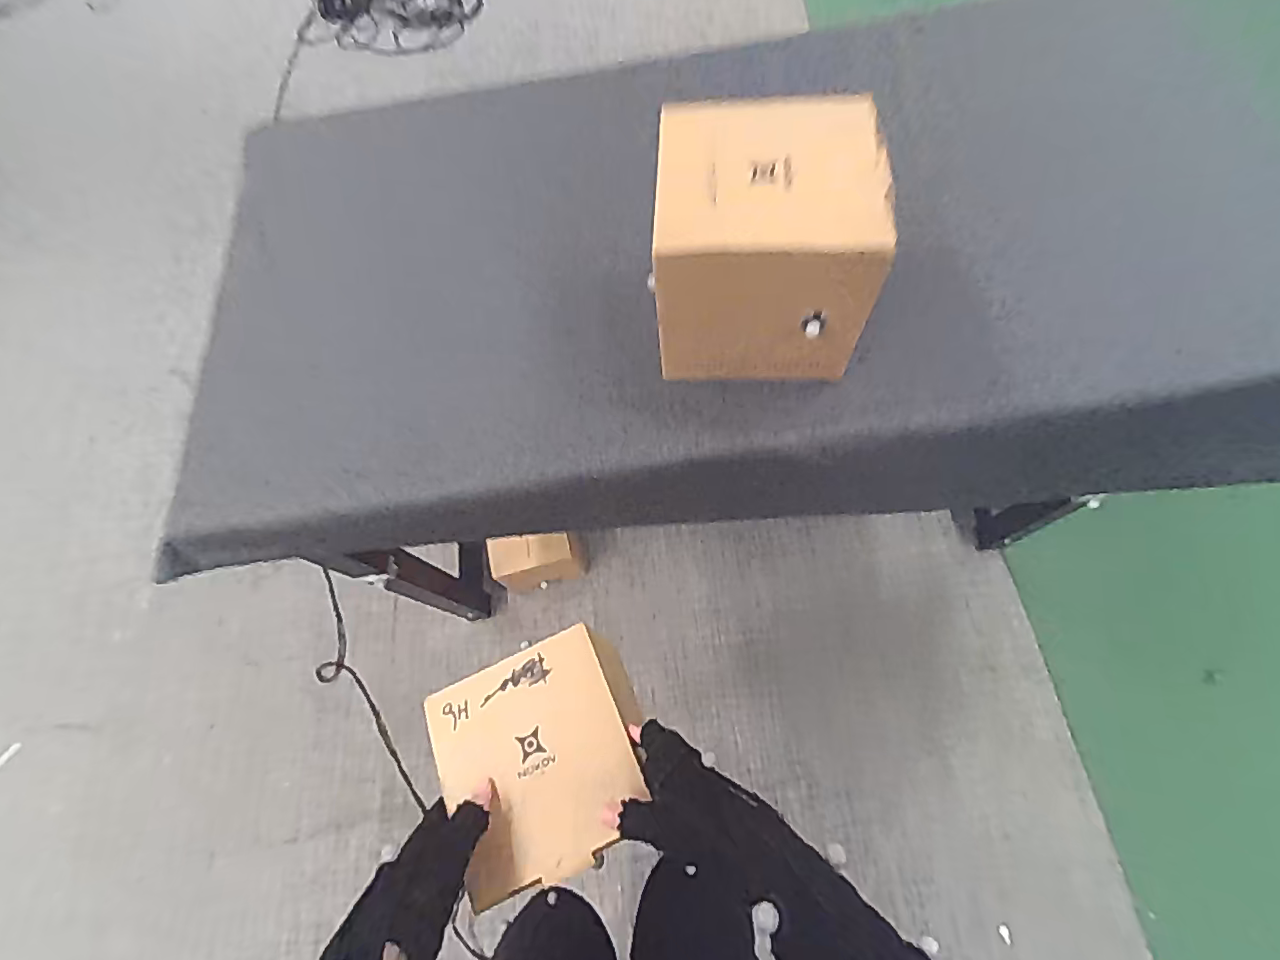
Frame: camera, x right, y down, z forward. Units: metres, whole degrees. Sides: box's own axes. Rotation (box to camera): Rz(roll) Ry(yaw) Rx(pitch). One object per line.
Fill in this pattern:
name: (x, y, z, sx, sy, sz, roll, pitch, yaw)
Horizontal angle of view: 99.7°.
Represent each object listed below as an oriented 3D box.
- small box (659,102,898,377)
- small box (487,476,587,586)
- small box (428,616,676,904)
small box: (0.112, -0.208, 0.501, 0.179, 0.176, 0.168, 0, 66, 6)
small box: (-0.221, 0.118, 1.186, 0.168, 0.176, 0.179, -15, 68, -1)
small box: (-0.074, 0.258, 0.531, 0.168, 0.176, 0.179, -25, 65, -3)
